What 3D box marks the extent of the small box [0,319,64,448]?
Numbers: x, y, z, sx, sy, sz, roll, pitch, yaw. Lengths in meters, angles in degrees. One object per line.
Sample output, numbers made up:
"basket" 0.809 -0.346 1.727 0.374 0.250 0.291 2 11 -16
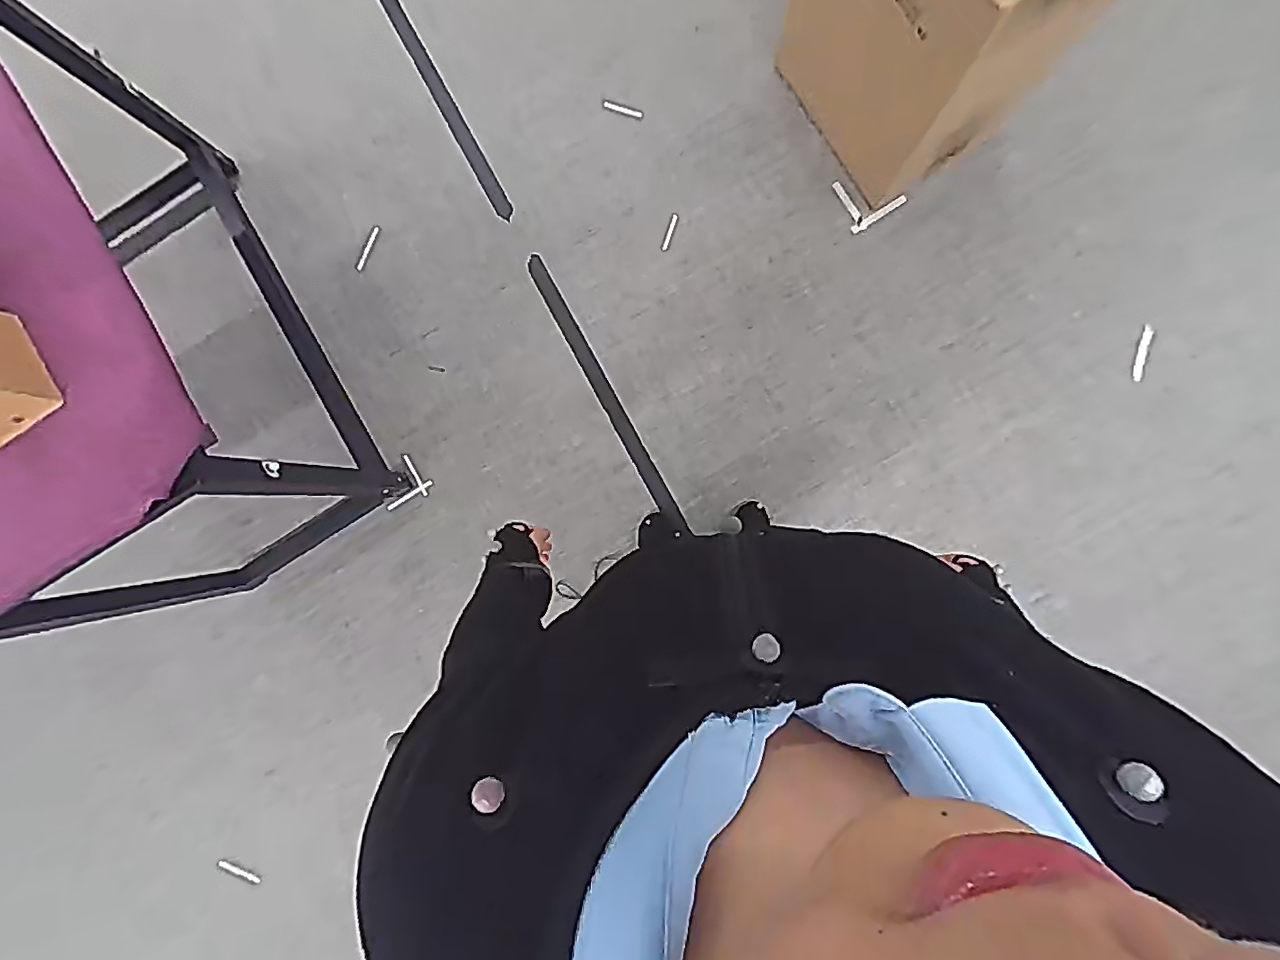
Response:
"small box" -1.040 -0.152 0.806 0.168 0.176 0.179 -34 85 2
